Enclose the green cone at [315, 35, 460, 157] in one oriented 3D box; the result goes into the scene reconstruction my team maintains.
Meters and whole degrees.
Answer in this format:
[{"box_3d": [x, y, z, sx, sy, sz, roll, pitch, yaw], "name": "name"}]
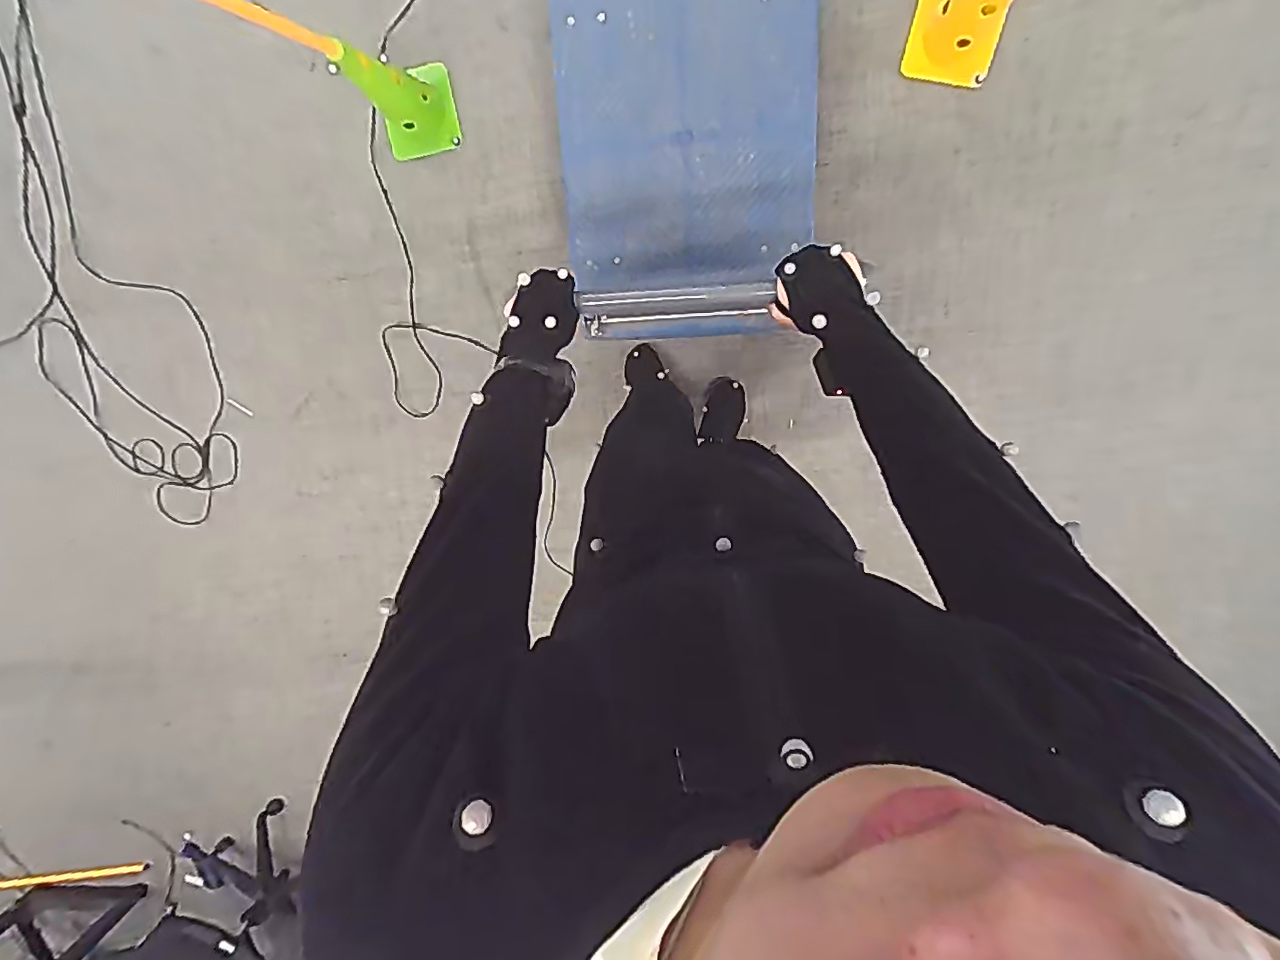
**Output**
[{"box_3d": [-0.605, -0.928, 1.255, 0.202, 0.368, 0.200, -7, 105, 11], "name": "green cone"}]
